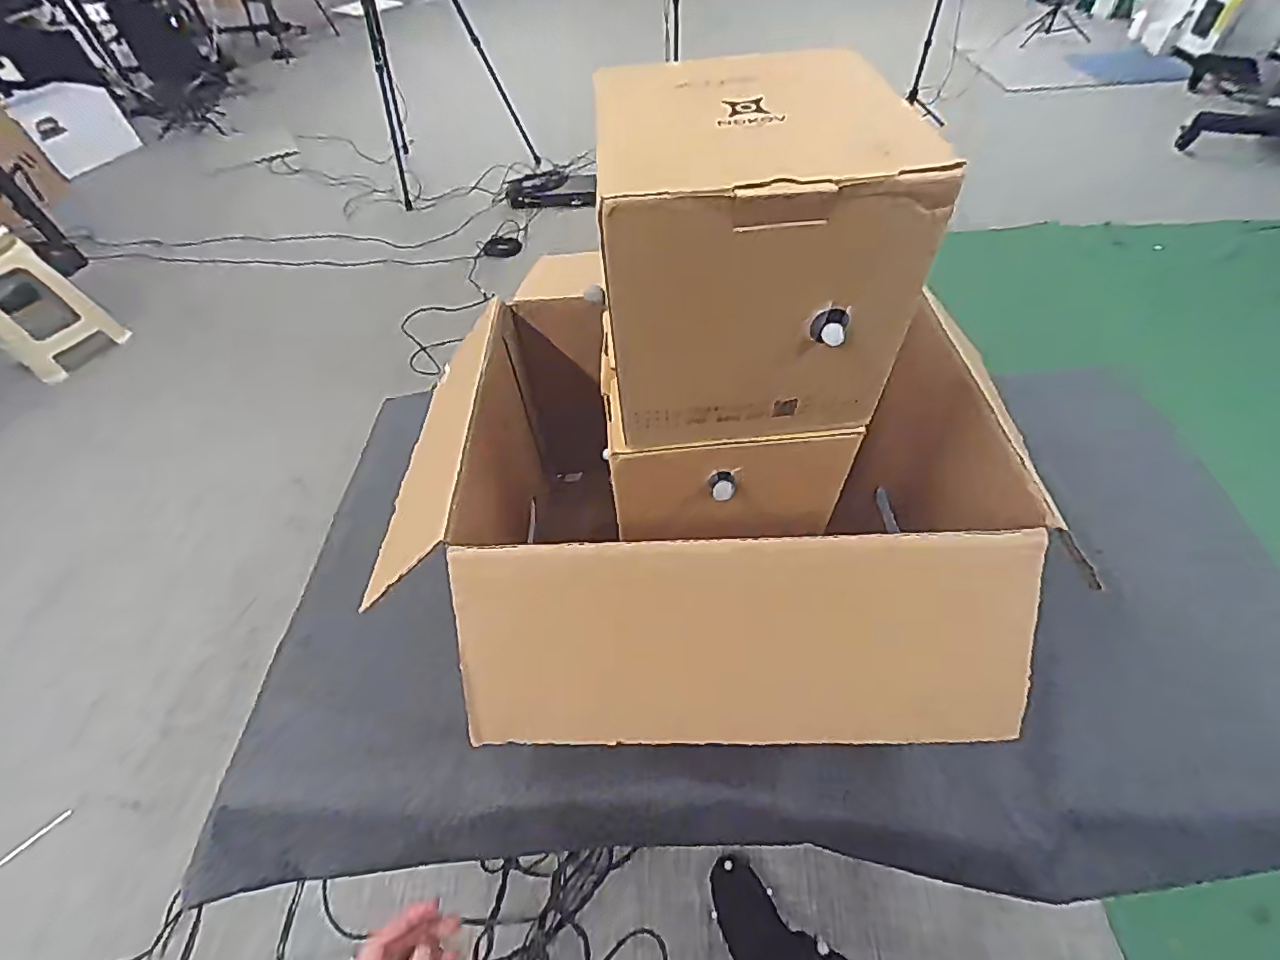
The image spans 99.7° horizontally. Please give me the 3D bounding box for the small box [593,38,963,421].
[{"bbox_3d":[0.061,-0.151,0.349,0.168,0.176,0.179,-5,52,-1],"label":"small box"}]
